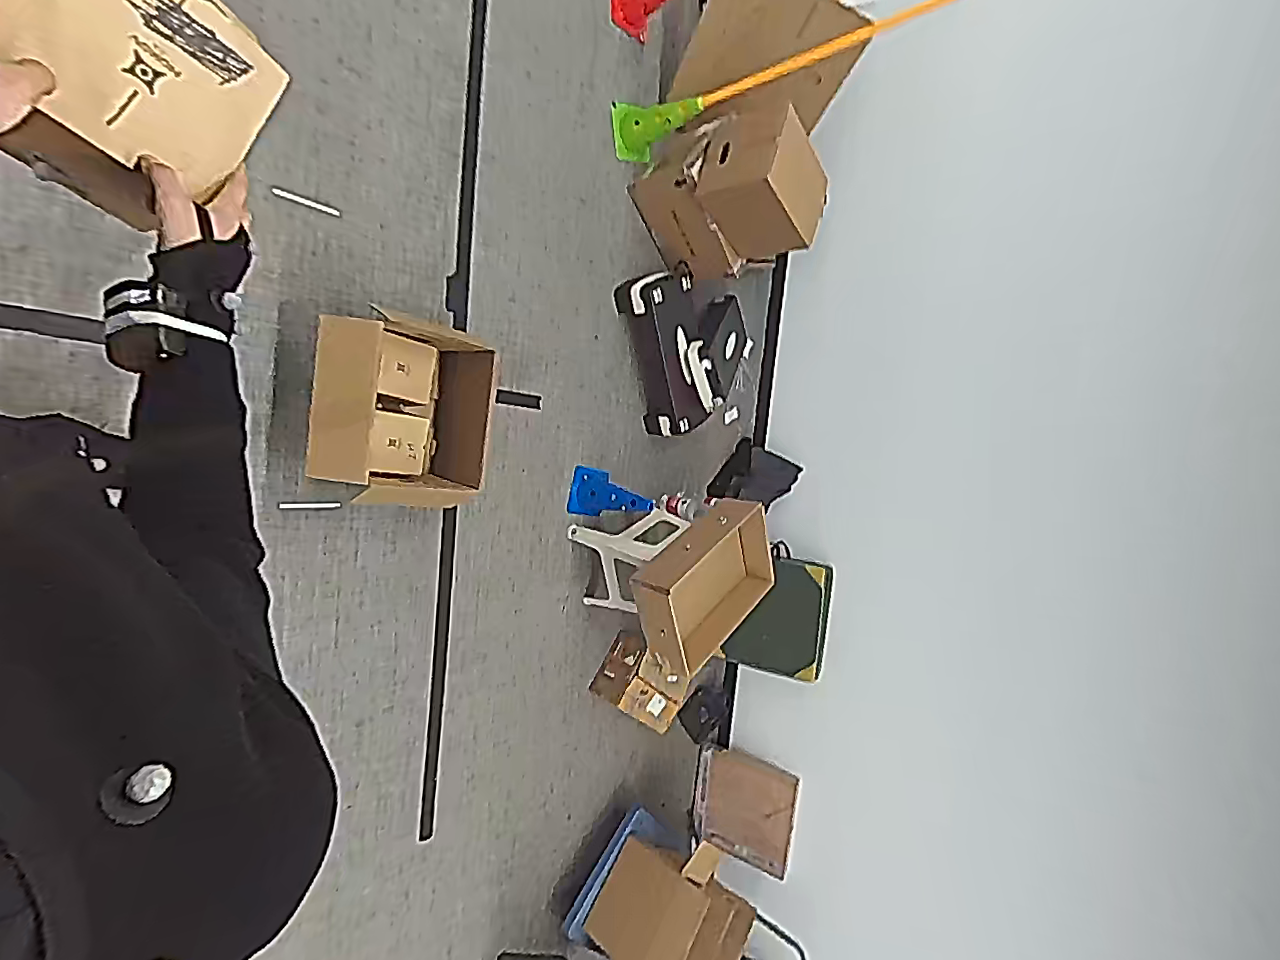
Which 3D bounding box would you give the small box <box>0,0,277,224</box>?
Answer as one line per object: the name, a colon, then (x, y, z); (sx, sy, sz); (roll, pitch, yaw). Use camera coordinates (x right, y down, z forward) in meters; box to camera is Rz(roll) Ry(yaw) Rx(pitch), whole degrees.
small box: (-0.496, -0.372, 0.507); (0.168, 0.176, 0.179); (35, 70, -56)
